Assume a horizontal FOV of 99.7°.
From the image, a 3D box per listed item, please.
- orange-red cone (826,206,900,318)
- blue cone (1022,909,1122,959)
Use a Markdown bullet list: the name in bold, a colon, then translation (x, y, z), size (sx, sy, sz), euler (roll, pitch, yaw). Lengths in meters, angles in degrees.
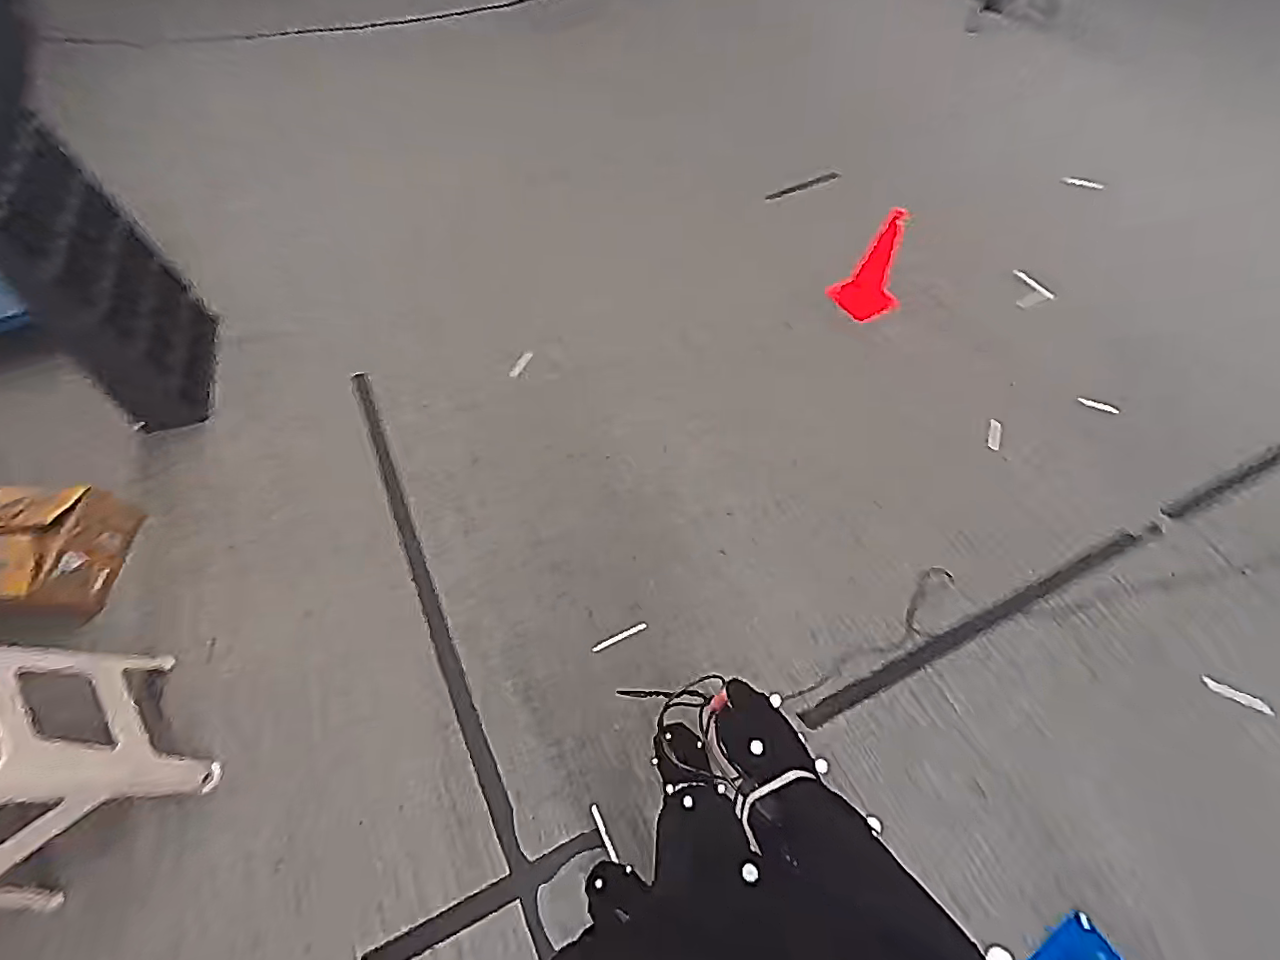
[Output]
- **orange-red cone**: translation (0.827, -0.782, 1.894), size (0.199, 0.360, 0.198), euler (-28, 63, -13)
- **blue cone**: translation (0.877, 0.917, 0.923), size (0.193, 0.380, 0.192), euler (-28, 64, -14)
